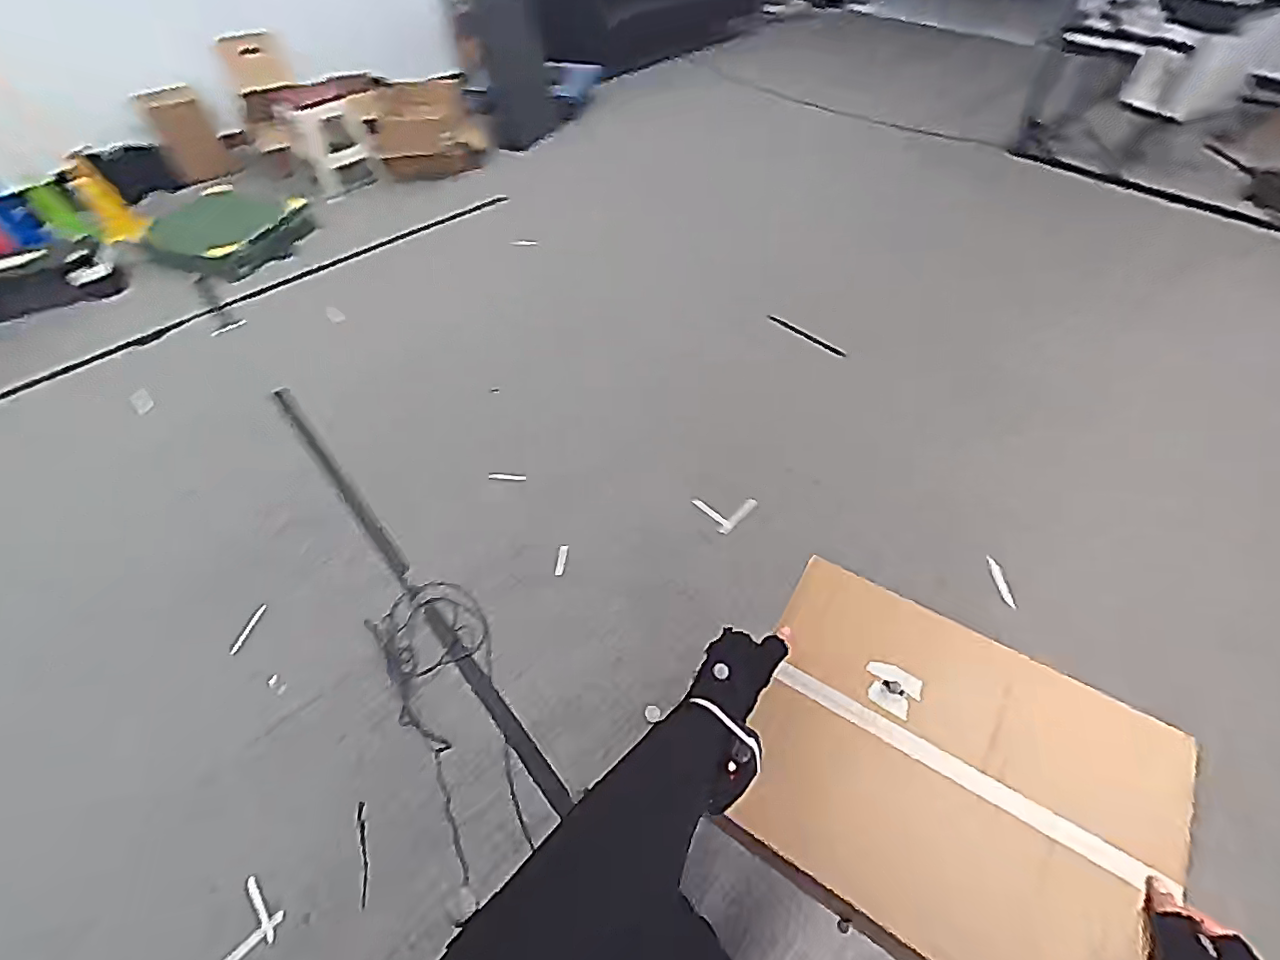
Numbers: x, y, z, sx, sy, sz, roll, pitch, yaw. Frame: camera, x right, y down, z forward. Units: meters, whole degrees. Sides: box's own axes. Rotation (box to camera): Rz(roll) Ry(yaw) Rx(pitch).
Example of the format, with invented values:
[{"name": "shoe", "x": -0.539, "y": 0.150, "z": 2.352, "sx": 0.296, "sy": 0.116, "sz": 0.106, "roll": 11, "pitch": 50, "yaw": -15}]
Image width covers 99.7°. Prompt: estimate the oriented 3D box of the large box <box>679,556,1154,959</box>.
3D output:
[{"name": "large box", "x": 0.303, "y": 0.364, "z": 0.684, "sx": 0.408, "sy": 0.320, "sz": 0.320, "roll": 24, "pitch": 60, "yaw": 22}]
